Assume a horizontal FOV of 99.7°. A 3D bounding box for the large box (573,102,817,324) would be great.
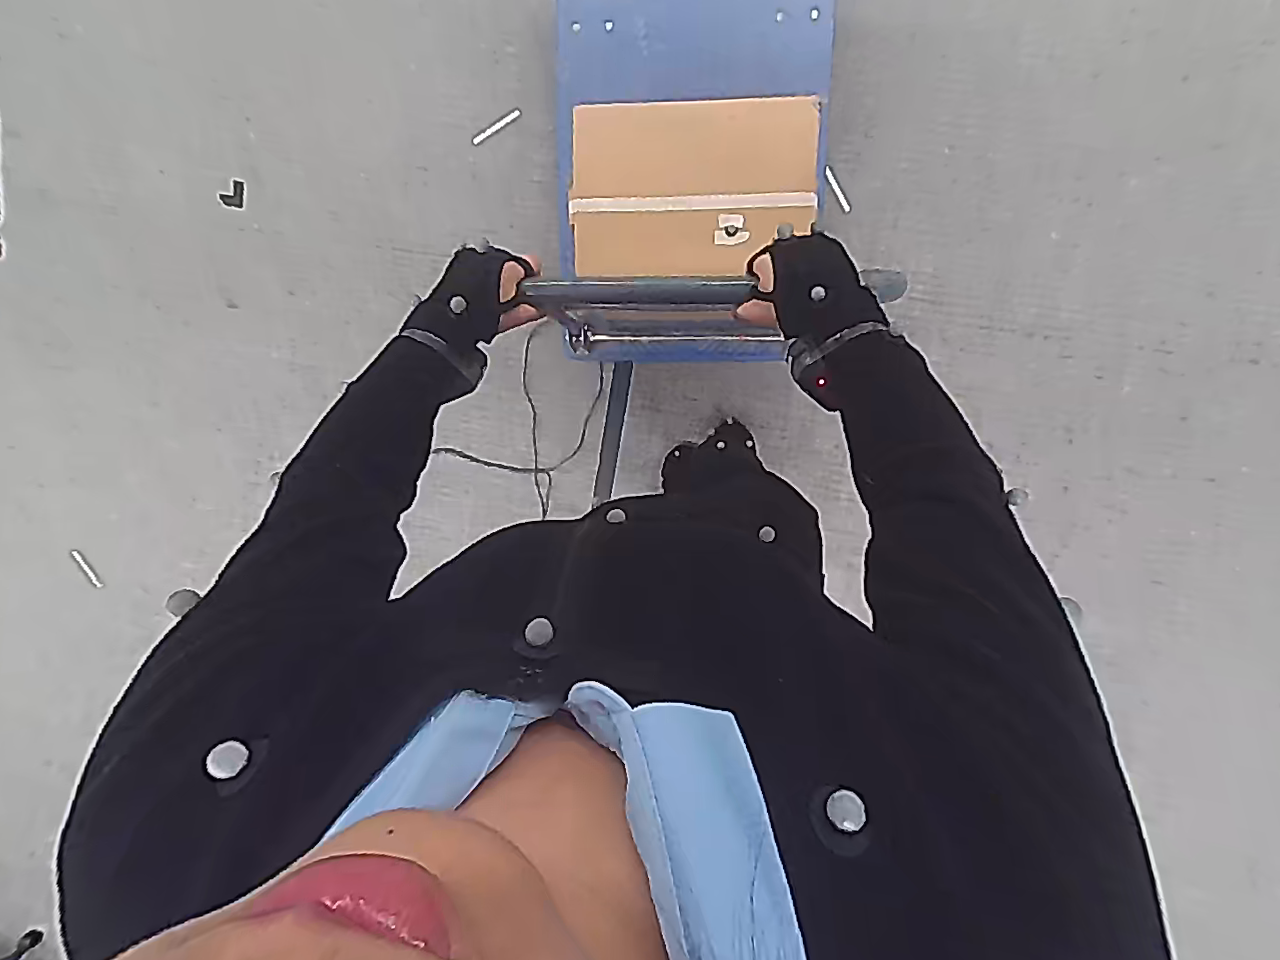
[{"bbox_3d":[0.097,-0.483,1.053,0.408,0.320,0.320,2,101,4],"label":"large box"}]
